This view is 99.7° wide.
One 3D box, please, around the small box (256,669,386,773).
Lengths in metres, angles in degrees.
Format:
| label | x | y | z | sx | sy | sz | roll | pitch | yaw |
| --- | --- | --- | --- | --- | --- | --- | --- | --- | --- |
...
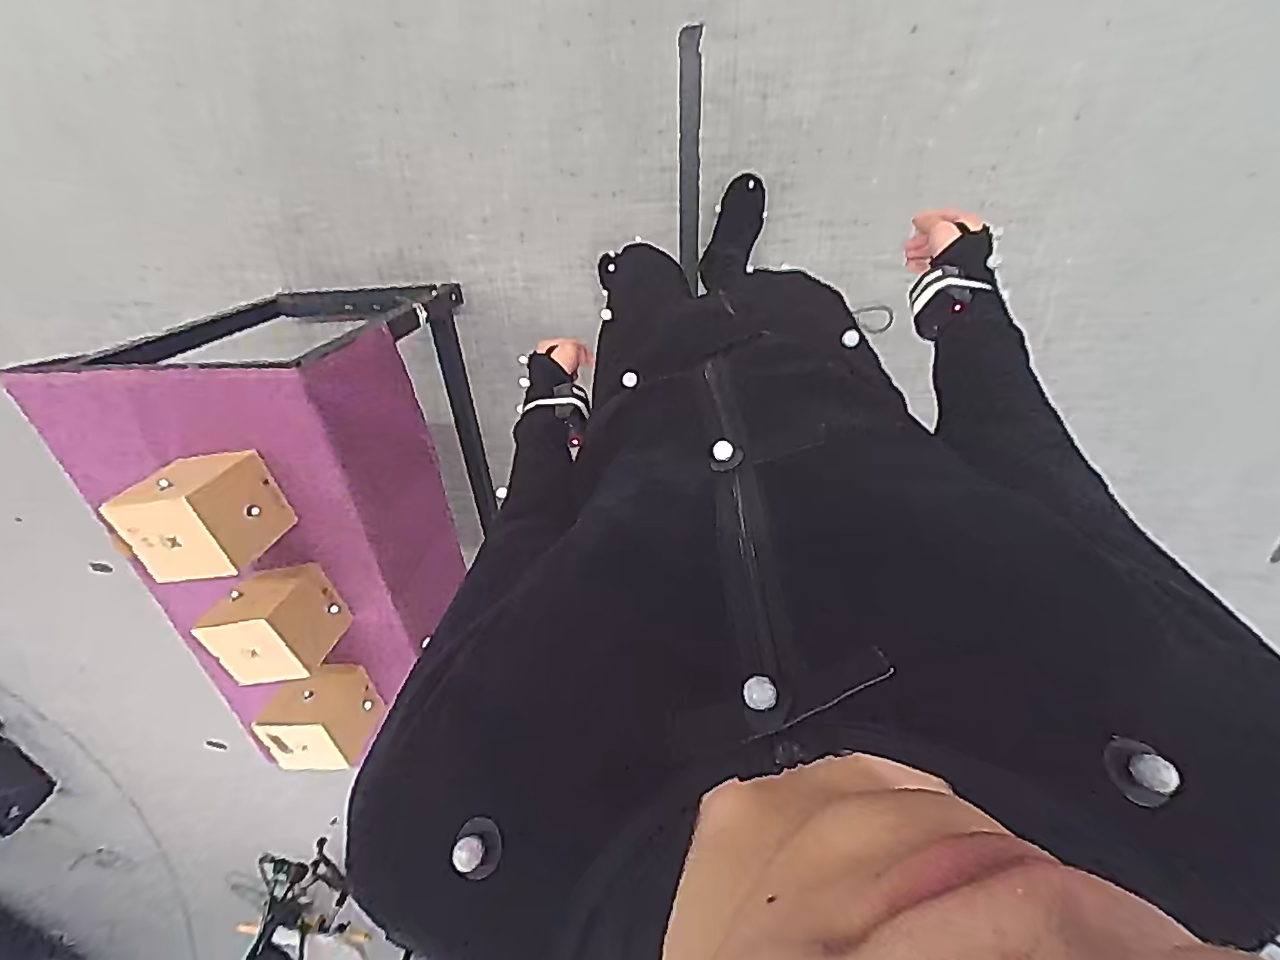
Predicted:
| label | x | y | z | sx | sy | sz | roll | pitch | yaw |
| --- | --- | --- | --- | --- | --- | --- | --- | --- | --- |
| small box | -0.749 | 0.569 | 1.291 | 0.179 | 0.176 | 0.168 | -4 | 121 | 9 |

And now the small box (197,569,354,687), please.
| label | x | y | z | sx | sy | sz | roll | pitch | yaw |
| --- | --- | --- | --- | --- | --- | --- | --- | --- | --- |
| small box | -0.750 | 0.307 | 1.133 | 0.179 | 0.176 | 0.168 | -9 | 120 | 13 |

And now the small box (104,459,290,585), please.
| label | x | y | z | sx | sy | sz | roll | pitch | yaw |
| --- | --- | --- | --- | --- | --- | --- | --- | --- | --- |
| small box | -0.790 | 0.072 | 0.993 | 0.179 | 0.176 | 0.168 | -5 | 120 | 11 |
